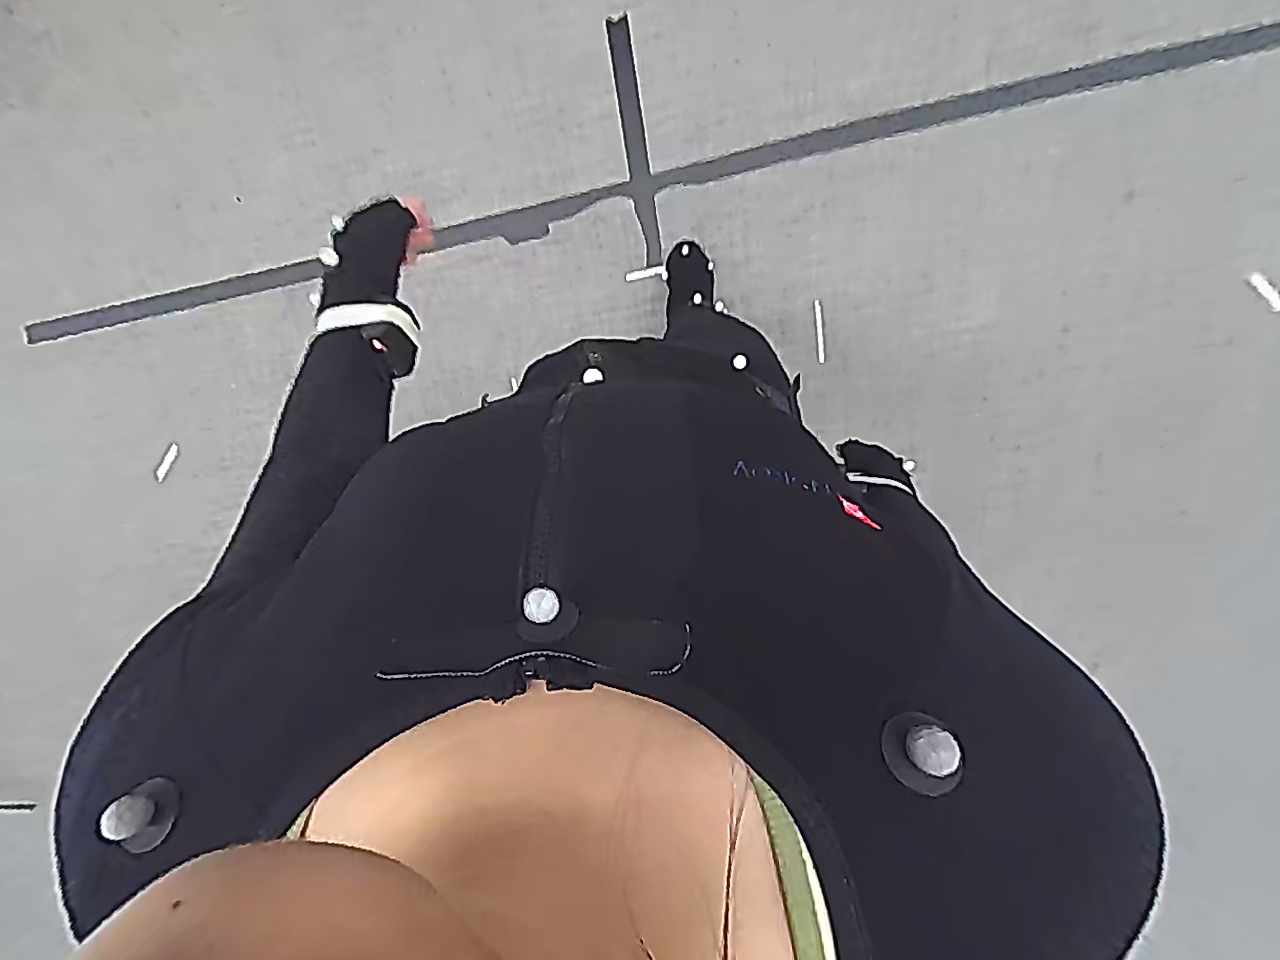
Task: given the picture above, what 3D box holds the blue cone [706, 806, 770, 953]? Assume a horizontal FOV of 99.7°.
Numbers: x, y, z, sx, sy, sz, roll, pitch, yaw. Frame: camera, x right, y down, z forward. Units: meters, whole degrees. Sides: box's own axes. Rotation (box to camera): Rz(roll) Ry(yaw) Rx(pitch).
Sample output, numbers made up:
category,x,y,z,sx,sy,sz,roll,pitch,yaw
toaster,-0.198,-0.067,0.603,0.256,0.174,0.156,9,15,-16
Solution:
category,x,y,z,sx,sy,sz,roll,pitch,yaw
blue cone,0.321,1.220,1.651,0.192,0.380,0.193,-14,107,8
